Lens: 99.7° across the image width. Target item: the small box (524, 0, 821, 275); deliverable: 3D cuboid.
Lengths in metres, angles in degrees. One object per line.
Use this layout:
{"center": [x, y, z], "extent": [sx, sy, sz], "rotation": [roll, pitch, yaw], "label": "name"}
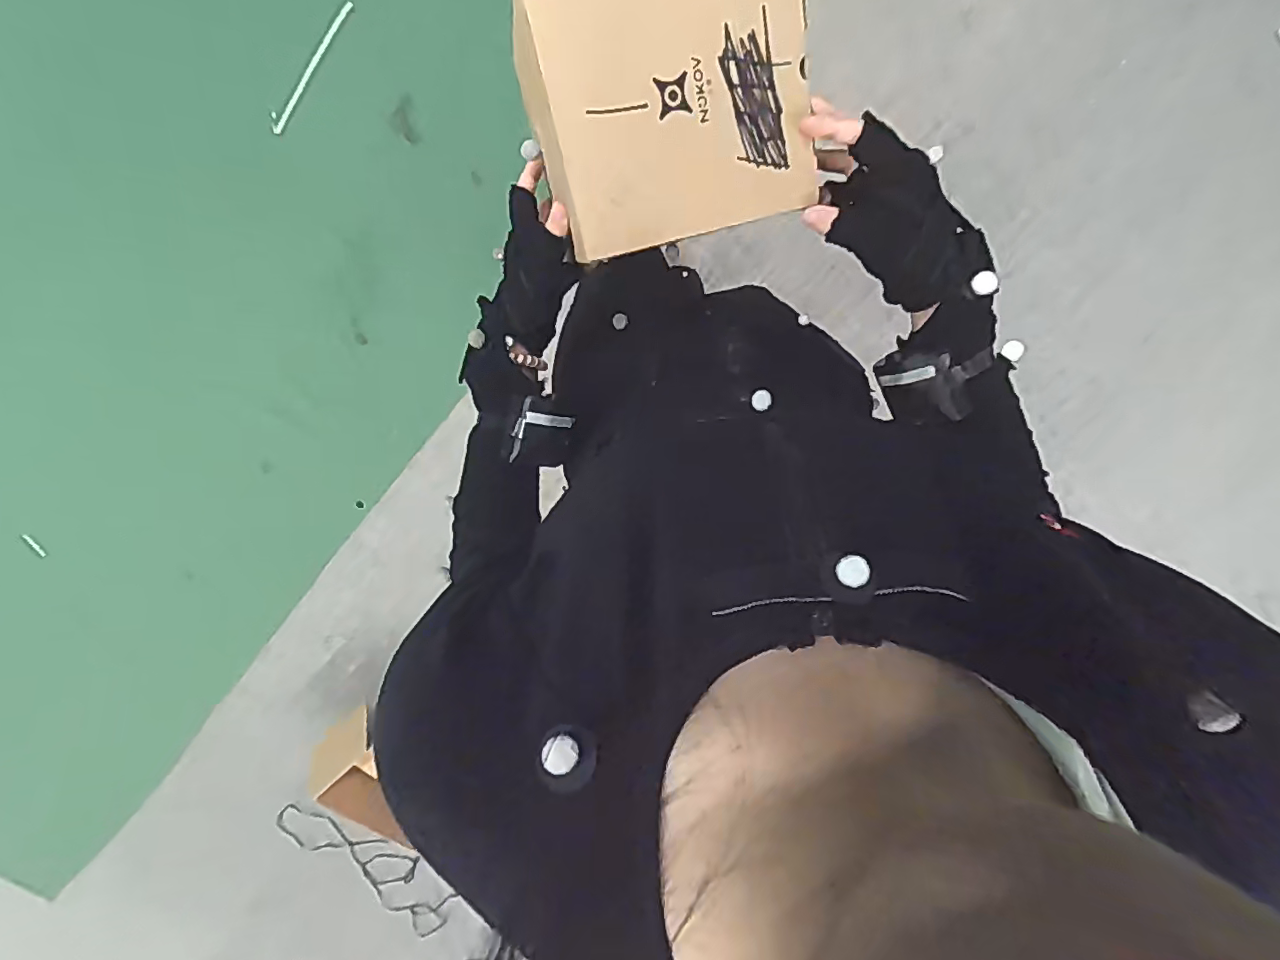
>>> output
{"center": [0.015, -0.263, 0.414], "extent": [0.179, 0.176, 0.168], "rotation": [-15, 113, -5], "label": "small box"}
